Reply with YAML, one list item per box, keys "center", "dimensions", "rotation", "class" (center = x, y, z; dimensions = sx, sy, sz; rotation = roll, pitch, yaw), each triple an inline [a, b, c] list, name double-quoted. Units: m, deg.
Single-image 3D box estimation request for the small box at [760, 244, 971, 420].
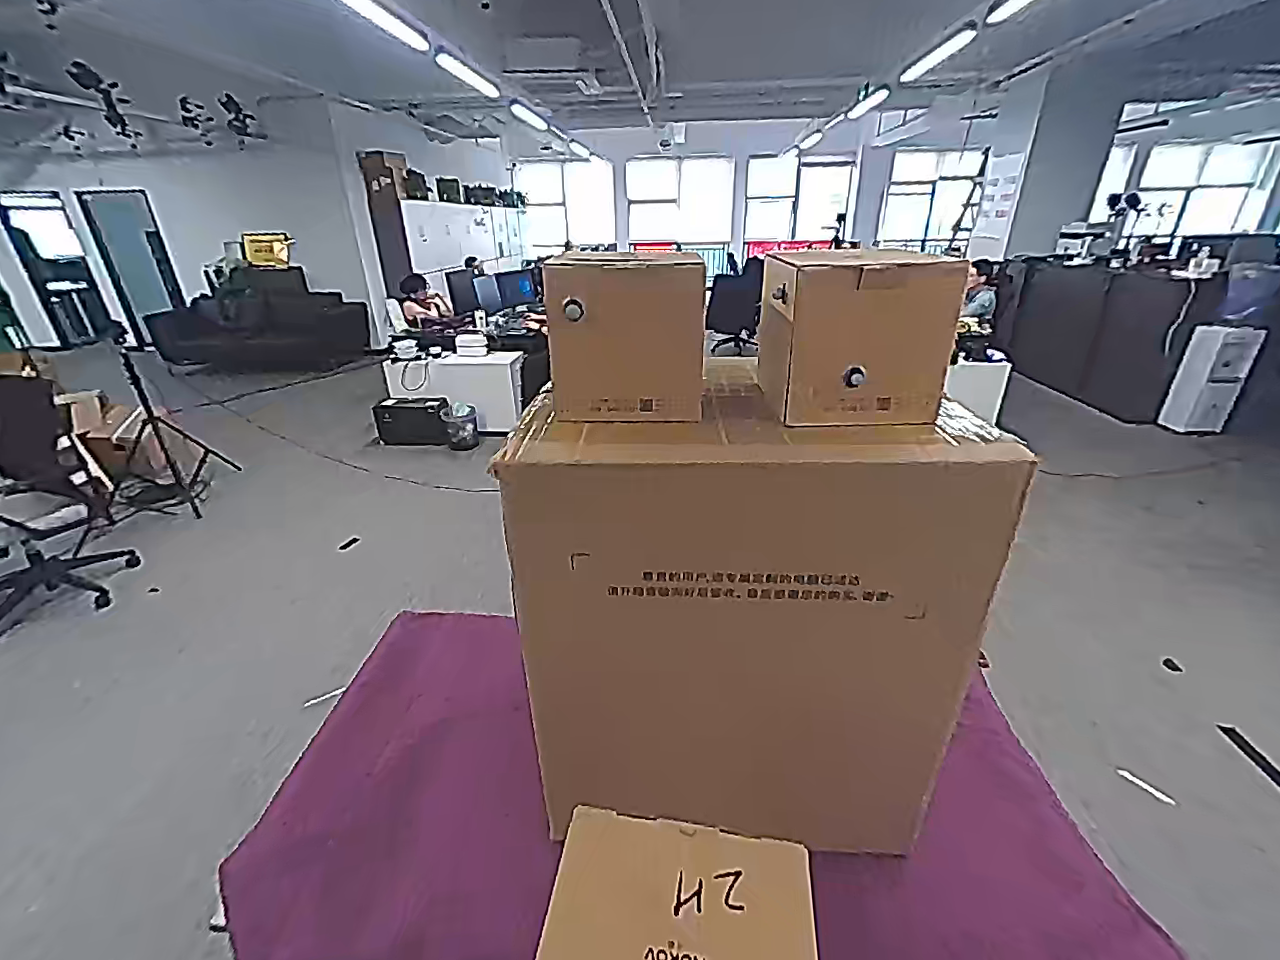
- center: [0.238, -0.176, 0.625]
  dimensions: [0.168, 0.176, 0.179]
  rotation: [-2, 27, 1]
  class: "small box"
